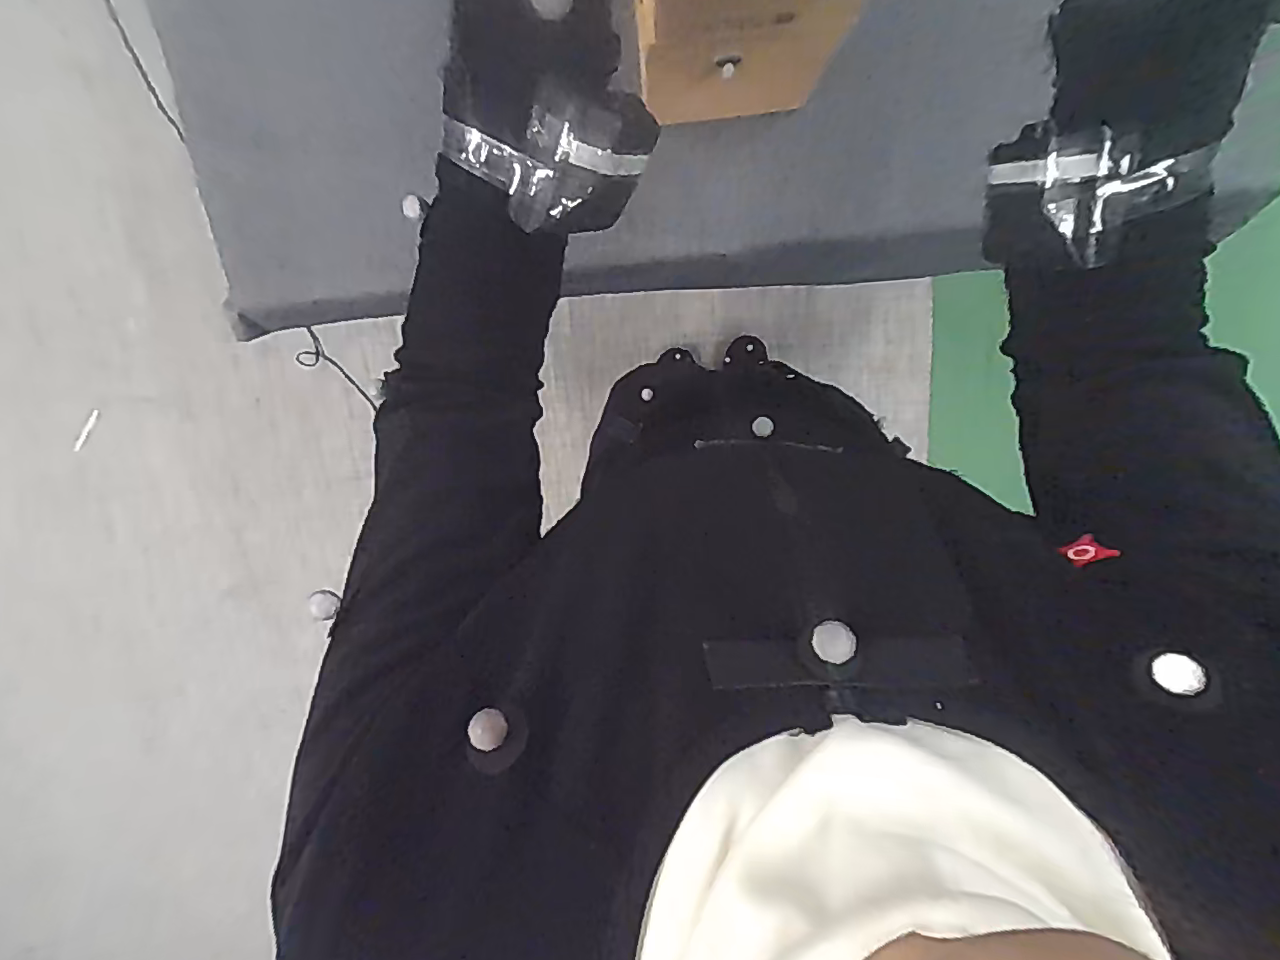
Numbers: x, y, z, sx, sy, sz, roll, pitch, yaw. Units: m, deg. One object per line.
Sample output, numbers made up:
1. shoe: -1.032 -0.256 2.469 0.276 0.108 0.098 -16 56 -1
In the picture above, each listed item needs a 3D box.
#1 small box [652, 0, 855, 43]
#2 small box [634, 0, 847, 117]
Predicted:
1. small box: 0.084 -0.433 0.347 0.168 0.176 0.179 -7 104 1
2. small box: 0.081 -0.467 0.504 0.179 0.176 0.168 -5 104 2
